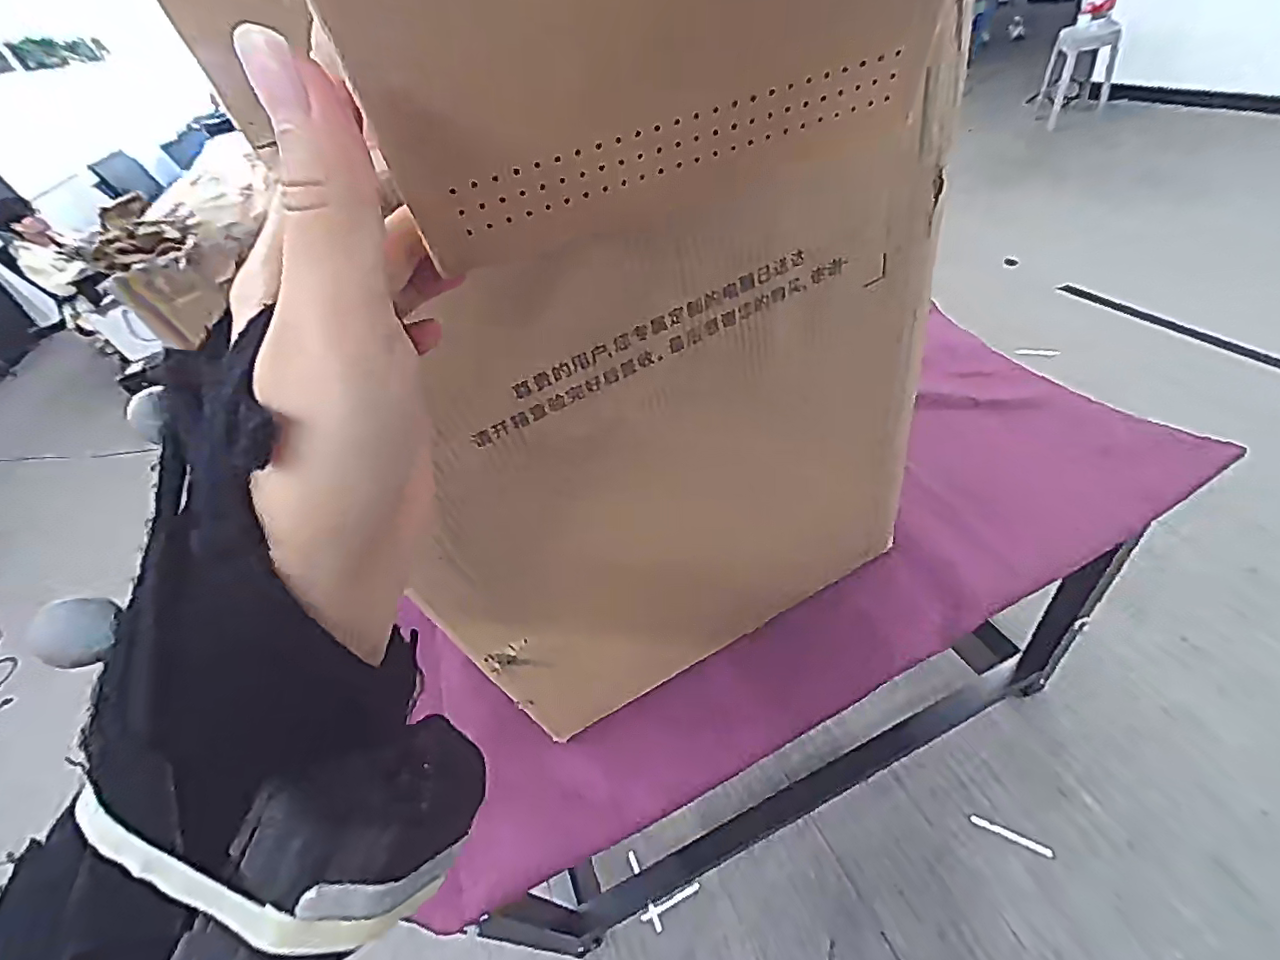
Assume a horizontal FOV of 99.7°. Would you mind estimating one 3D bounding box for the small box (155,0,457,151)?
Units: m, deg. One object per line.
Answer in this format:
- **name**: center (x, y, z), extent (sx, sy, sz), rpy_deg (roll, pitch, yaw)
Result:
- **small box**: center (-0.261, -0.366, 0.401), extent (0.168, 0.176, 0.179), rpy_deg (-31, 46, -14)
